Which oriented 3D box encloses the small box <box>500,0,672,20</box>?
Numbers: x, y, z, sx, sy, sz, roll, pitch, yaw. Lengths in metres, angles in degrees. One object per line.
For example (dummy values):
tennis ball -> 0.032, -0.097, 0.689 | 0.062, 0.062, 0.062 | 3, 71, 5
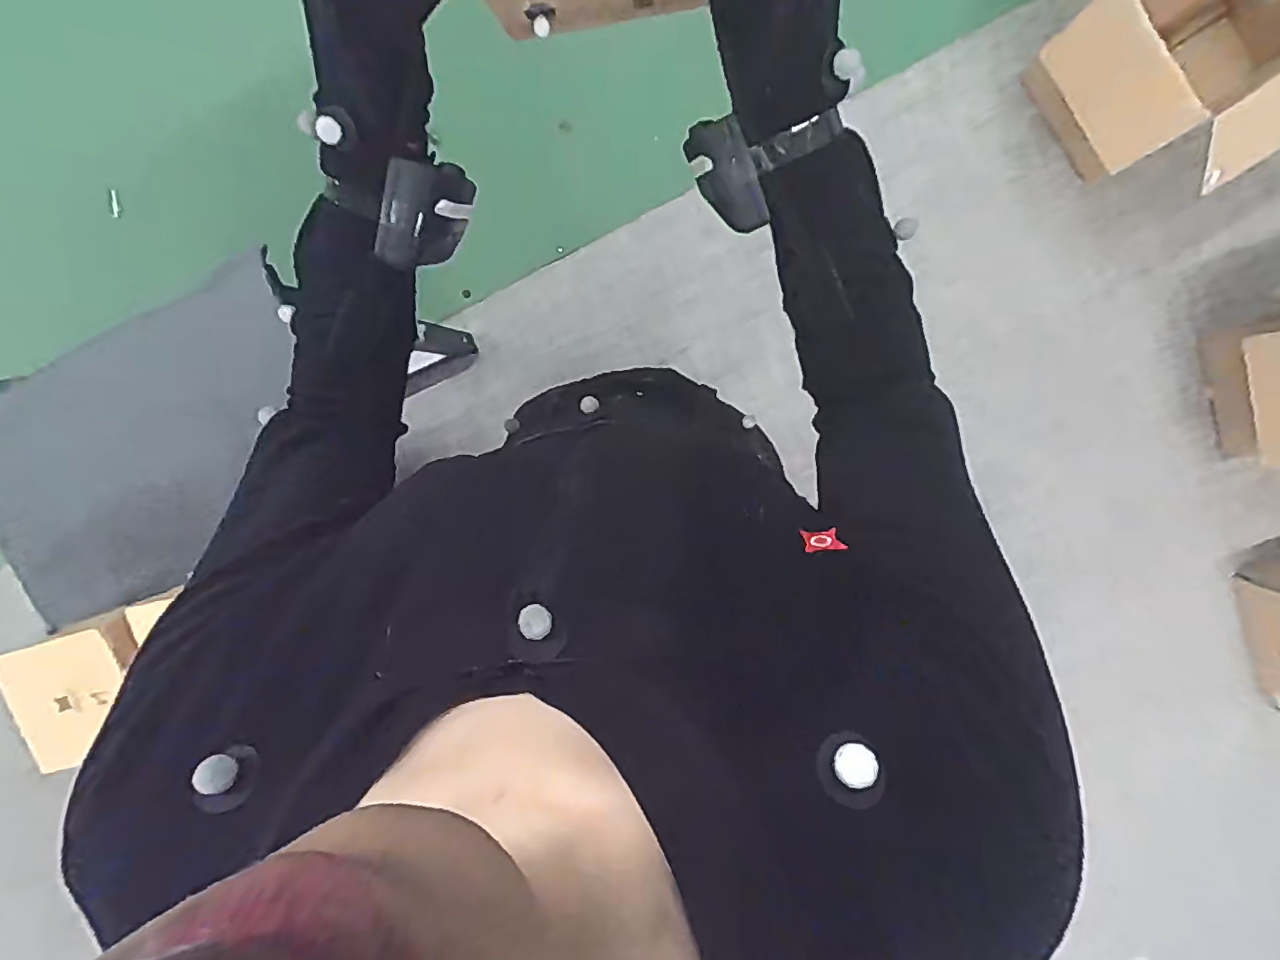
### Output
small box -> -0.036, -0.398, 0.296 | 0.168, 0.176, 0.179 | -2, 103, 10
